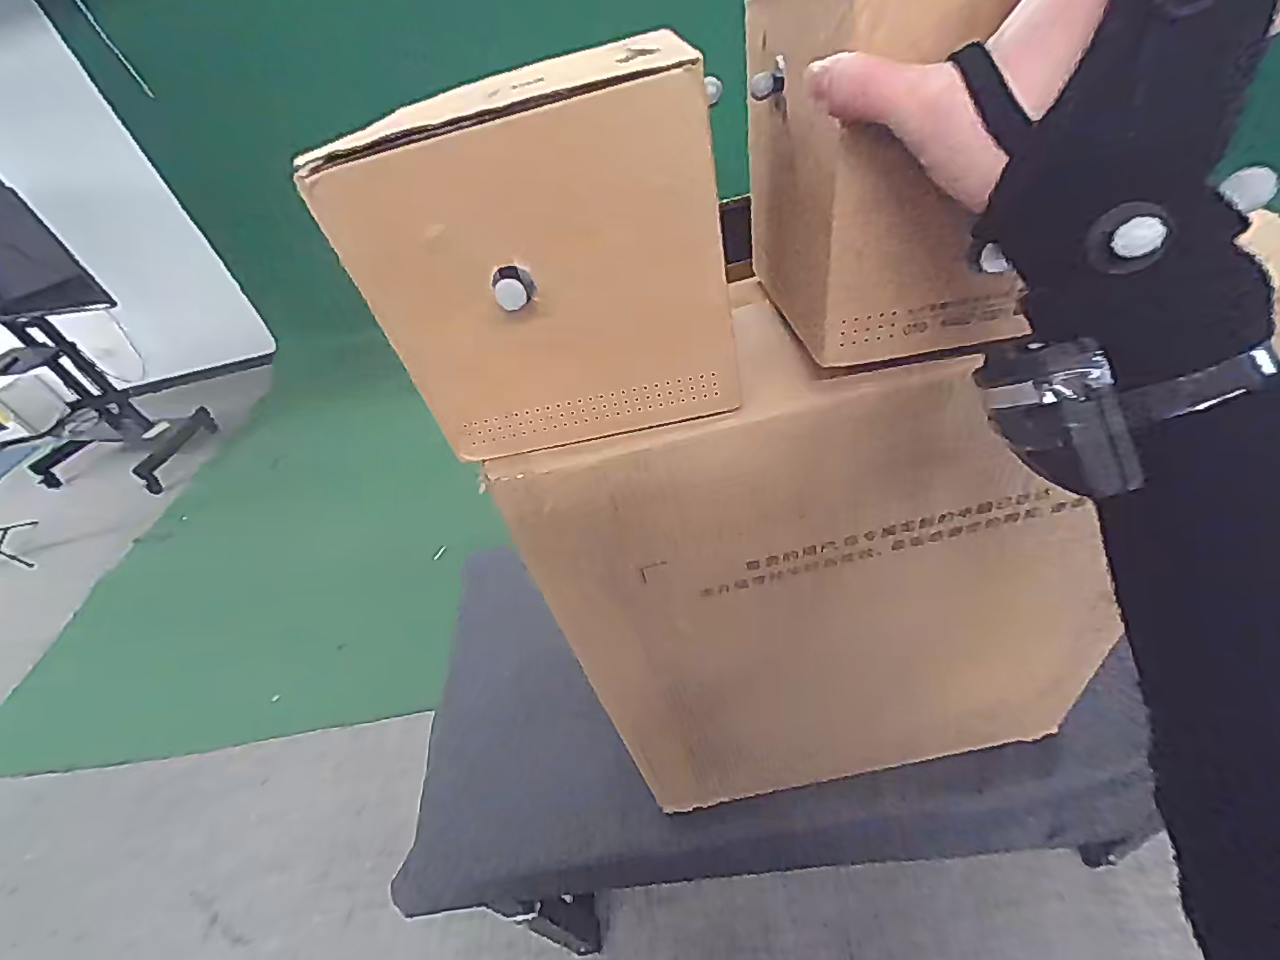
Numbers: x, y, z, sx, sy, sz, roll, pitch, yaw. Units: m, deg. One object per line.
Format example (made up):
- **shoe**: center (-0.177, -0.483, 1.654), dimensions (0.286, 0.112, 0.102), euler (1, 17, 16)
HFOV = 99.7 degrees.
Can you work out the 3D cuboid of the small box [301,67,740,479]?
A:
- **small box**: center (-0.046, -0.120, 0.329), dimensions (0.179, 0.176, 0.168), euler (-11, 42, 6)
